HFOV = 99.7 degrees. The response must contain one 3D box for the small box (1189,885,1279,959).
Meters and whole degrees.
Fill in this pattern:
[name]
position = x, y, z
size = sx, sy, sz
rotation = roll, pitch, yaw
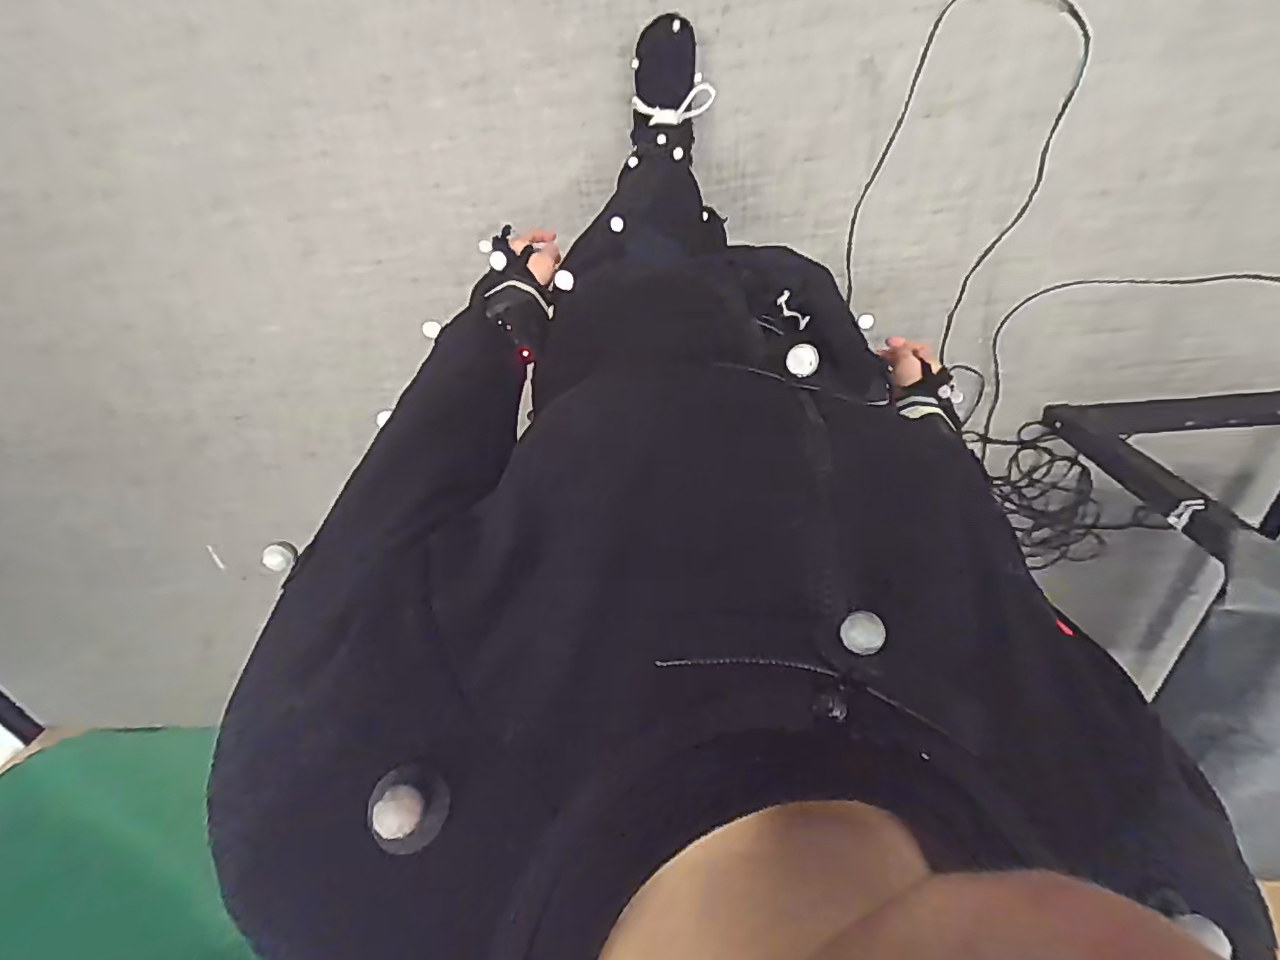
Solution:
[small box]
position = 1.161, 0.852, 0.959
size = 0.179, 0.176, 0.168
rotation = -2, 120, 7
